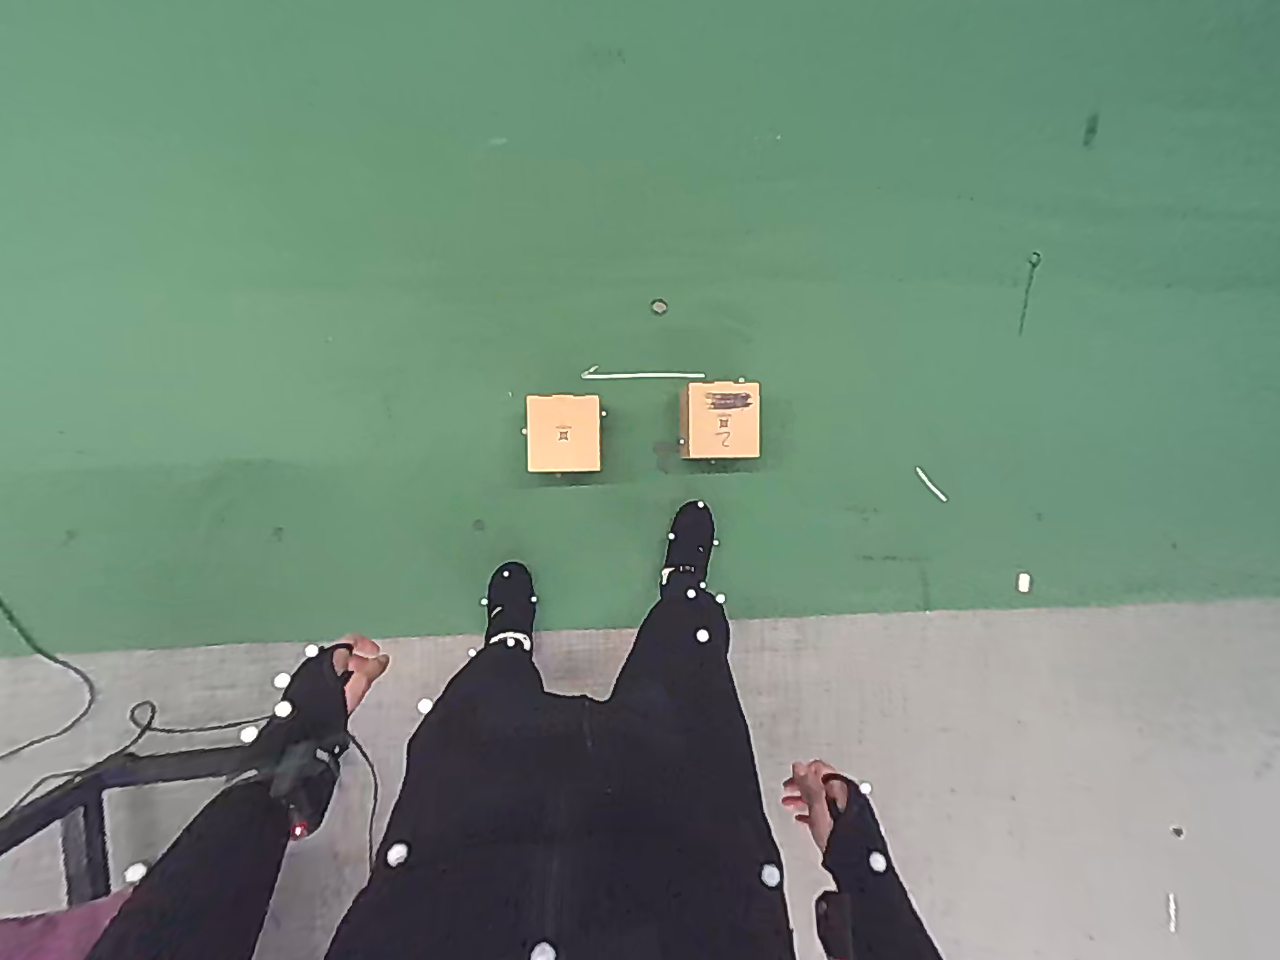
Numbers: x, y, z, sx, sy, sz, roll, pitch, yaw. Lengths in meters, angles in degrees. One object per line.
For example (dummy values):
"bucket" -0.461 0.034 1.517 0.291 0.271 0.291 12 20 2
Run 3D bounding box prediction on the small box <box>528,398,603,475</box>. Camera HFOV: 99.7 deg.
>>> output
"small box" -0.174 -0.101 1.306 0.168 0.176 0.179 -1 90 -2
